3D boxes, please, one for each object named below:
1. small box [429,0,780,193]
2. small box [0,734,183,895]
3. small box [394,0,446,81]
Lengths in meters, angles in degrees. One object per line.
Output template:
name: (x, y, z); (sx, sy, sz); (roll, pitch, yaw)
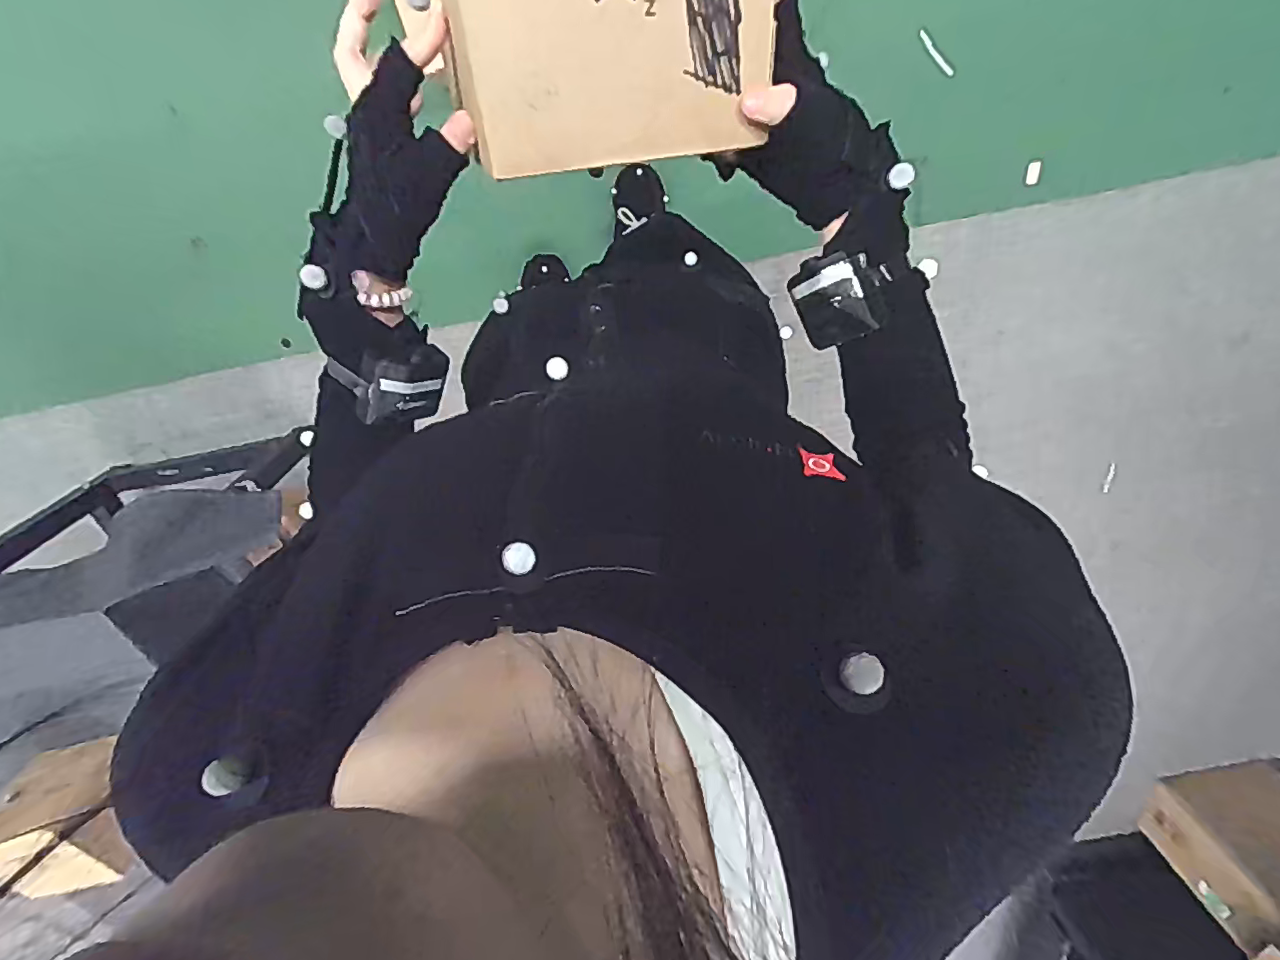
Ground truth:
small box: (-0.032, -0.291, 0.333); (0.179, 0.176, 0.168); (-16, 129, -14)
small box: (-0.971, 0.577, 0.942); (0.179, 0.176, 0.168); (-14, 121, 3)
small box: (-0.343, -0.861, 1.001); (0.168, 0.176, 0.179); (-12, 122, 3)
